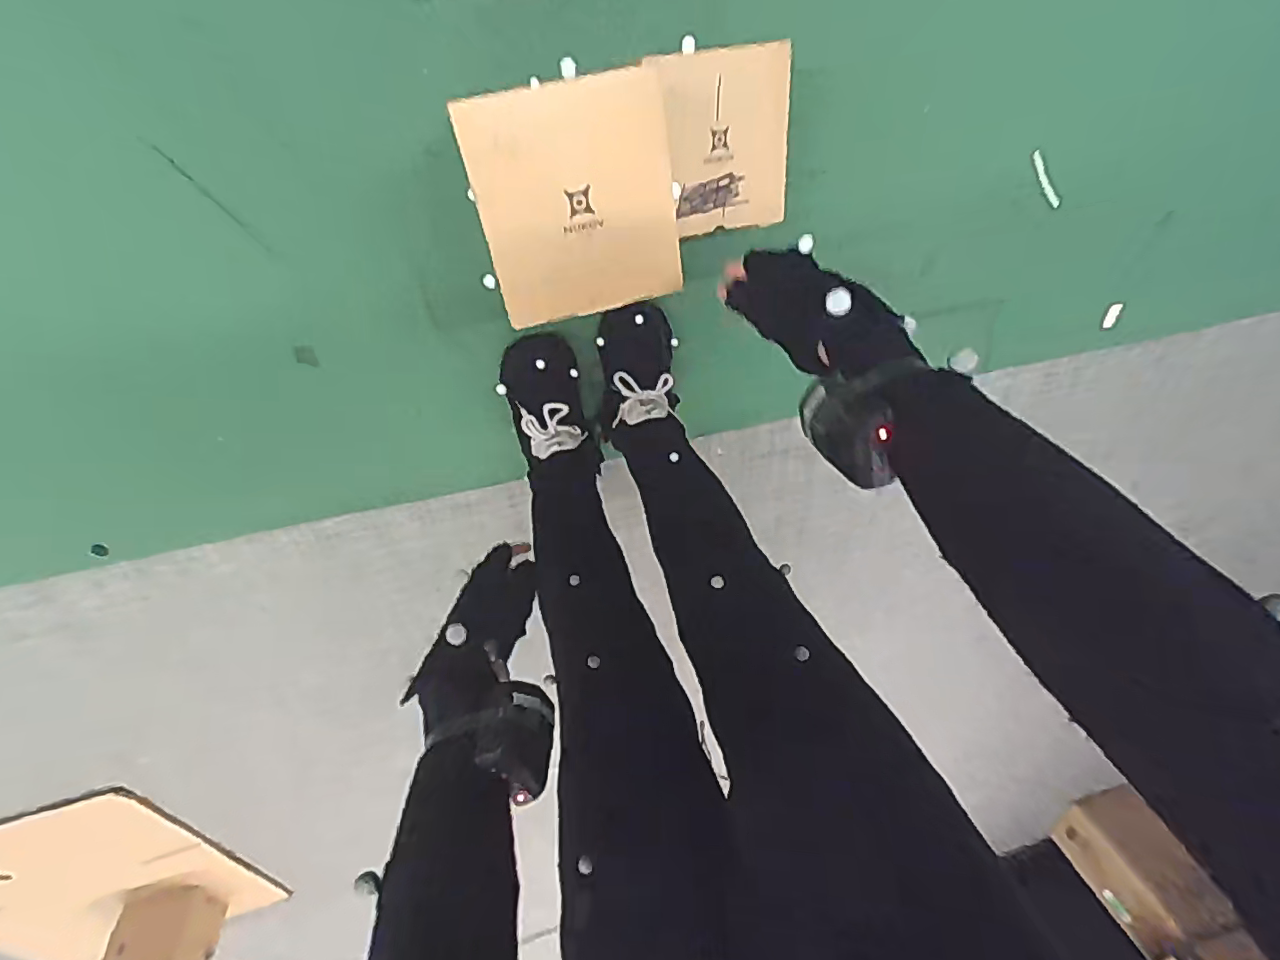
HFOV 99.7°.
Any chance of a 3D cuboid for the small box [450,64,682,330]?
[{"bbox_3d":[-0.071,-0.269,0.514,0.168,0.176,0.179,-16,127,-6],"label":"small box"}]
